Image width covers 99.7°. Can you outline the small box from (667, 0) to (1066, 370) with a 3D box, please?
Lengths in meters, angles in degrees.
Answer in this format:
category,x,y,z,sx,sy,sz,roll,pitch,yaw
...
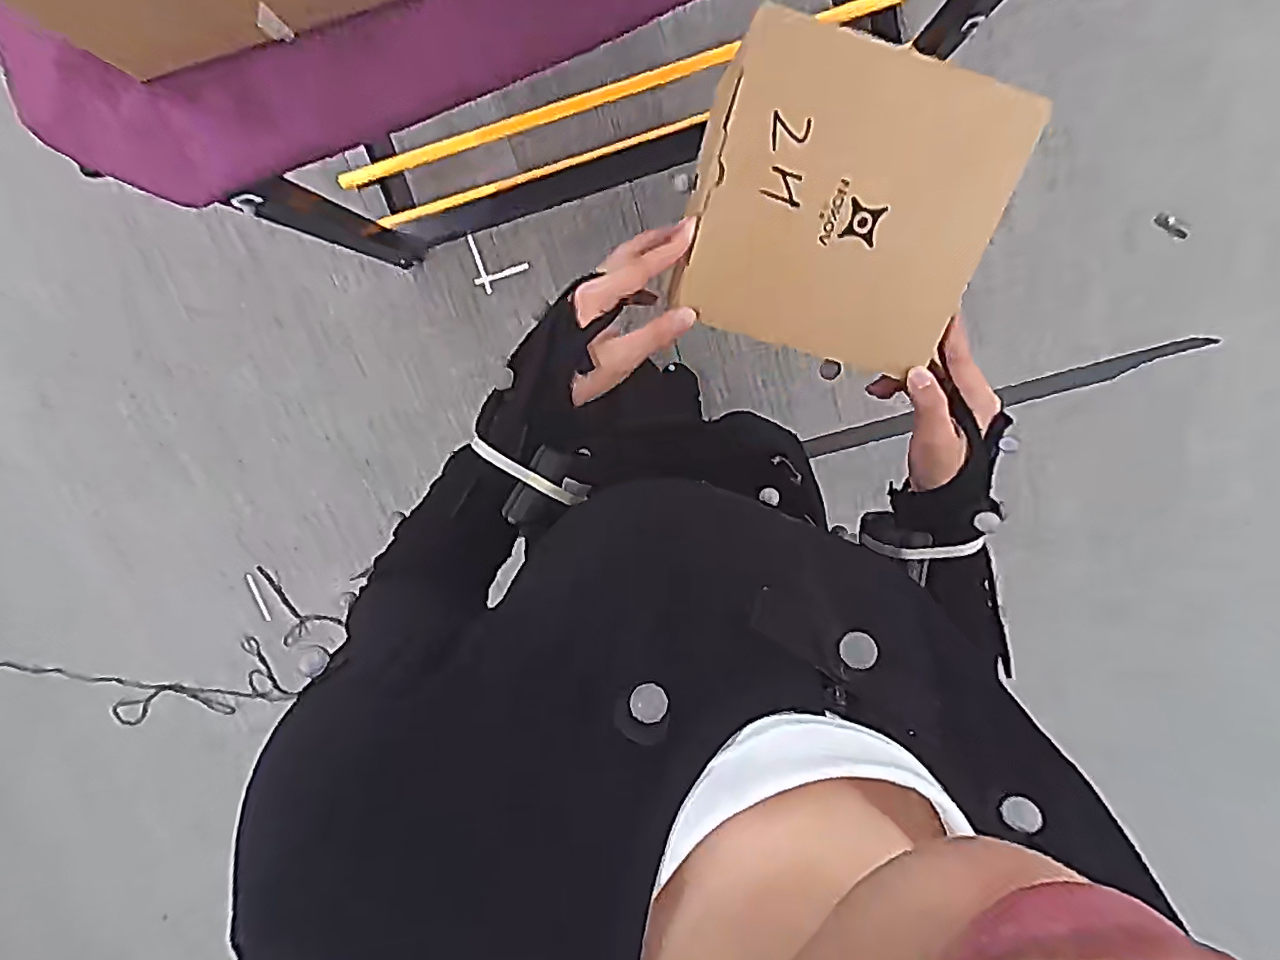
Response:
category,x,y,z,sx,sy,sz,roll,pitch,yaw
small box,0.126,-0.195,0.384,0.179,0.176,0.168,14,113,-6
